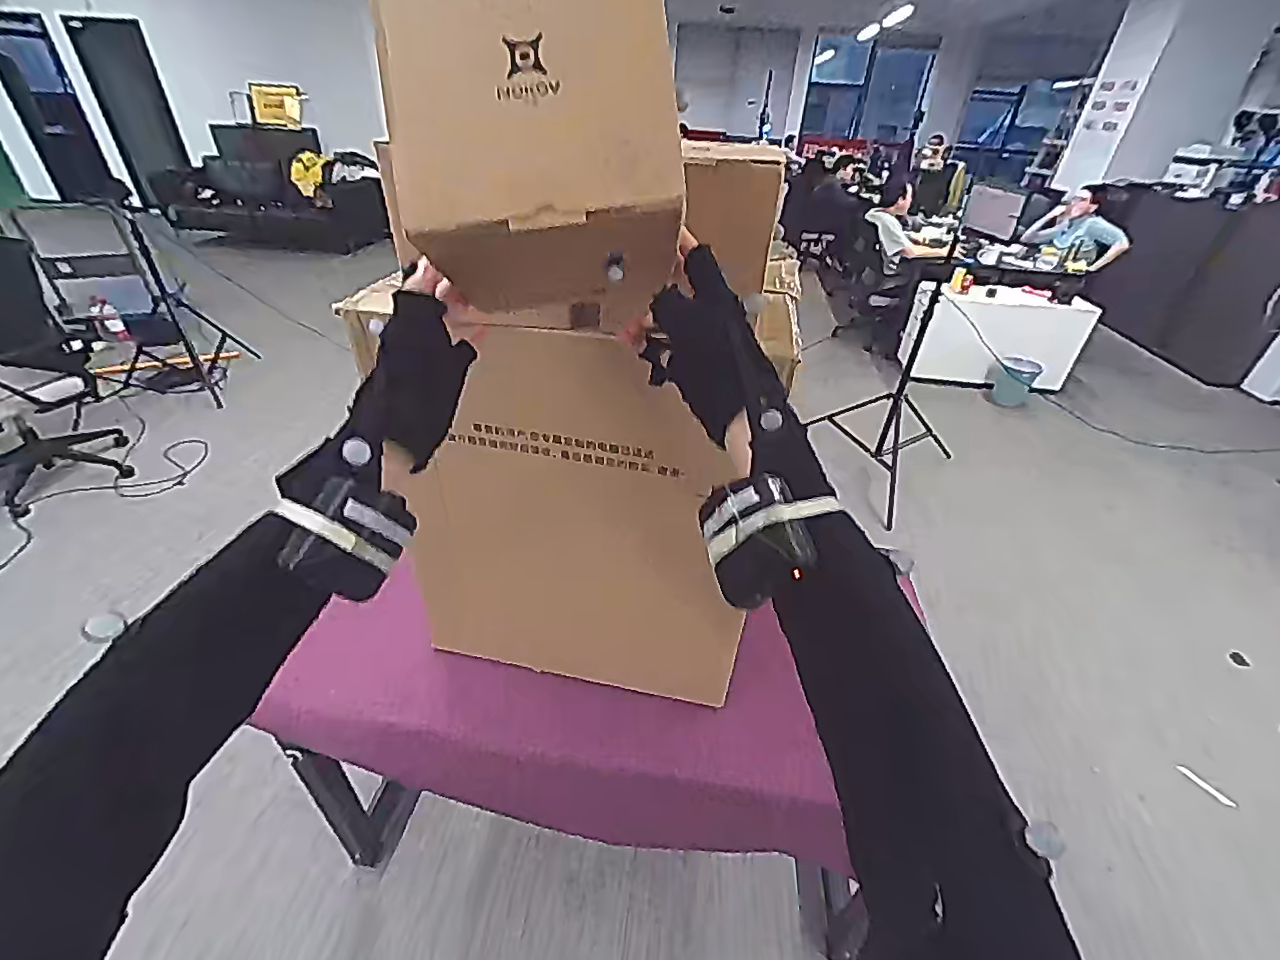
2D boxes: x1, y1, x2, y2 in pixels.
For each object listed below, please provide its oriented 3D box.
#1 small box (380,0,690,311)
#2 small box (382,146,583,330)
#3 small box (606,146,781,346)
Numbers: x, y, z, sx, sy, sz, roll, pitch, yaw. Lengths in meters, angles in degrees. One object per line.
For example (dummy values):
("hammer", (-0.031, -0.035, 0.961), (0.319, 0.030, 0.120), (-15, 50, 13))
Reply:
("small box", (-0.062, -0.233, 0.391), (0.168, 0.179, 0.176), (-8, 1, -2))
("small box", (-0.148, -0.276, 0.602), (0.179, 0.176, 0.168), (3, 36, 2))
("small box", (0.057, -0.260, 0.593), (0.168, 0.176, 0.179), (8, 37, 7))
